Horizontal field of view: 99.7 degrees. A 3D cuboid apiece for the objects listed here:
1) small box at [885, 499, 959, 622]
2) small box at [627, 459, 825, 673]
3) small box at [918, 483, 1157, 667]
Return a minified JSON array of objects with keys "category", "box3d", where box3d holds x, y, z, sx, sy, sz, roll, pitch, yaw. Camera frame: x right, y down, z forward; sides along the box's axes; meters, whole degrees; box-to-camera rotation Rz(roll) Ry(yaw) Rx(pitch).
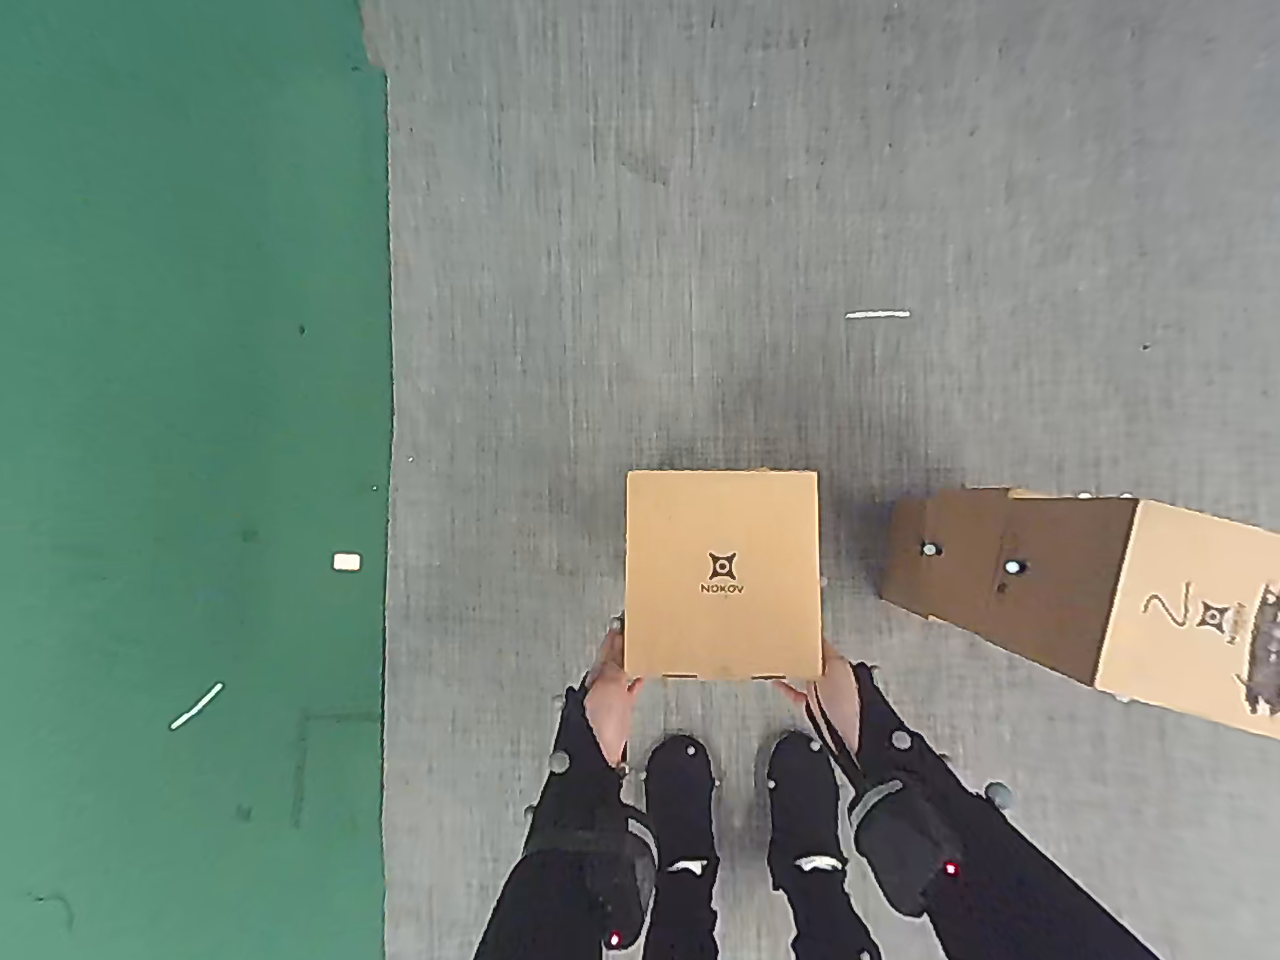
[{"category":"small box","box3d":[0.506,0.126,0.846,0.168,0.176,0.179,9,89,3]},{"category":"small box","box3d":[0.072,0.079,0.531,0.168,0.176,0.179,1,84,1]},{"category":"small box","box3d":[0.481,0.108,0.685,0.168,0.176,0.179,13,89,3]}]
